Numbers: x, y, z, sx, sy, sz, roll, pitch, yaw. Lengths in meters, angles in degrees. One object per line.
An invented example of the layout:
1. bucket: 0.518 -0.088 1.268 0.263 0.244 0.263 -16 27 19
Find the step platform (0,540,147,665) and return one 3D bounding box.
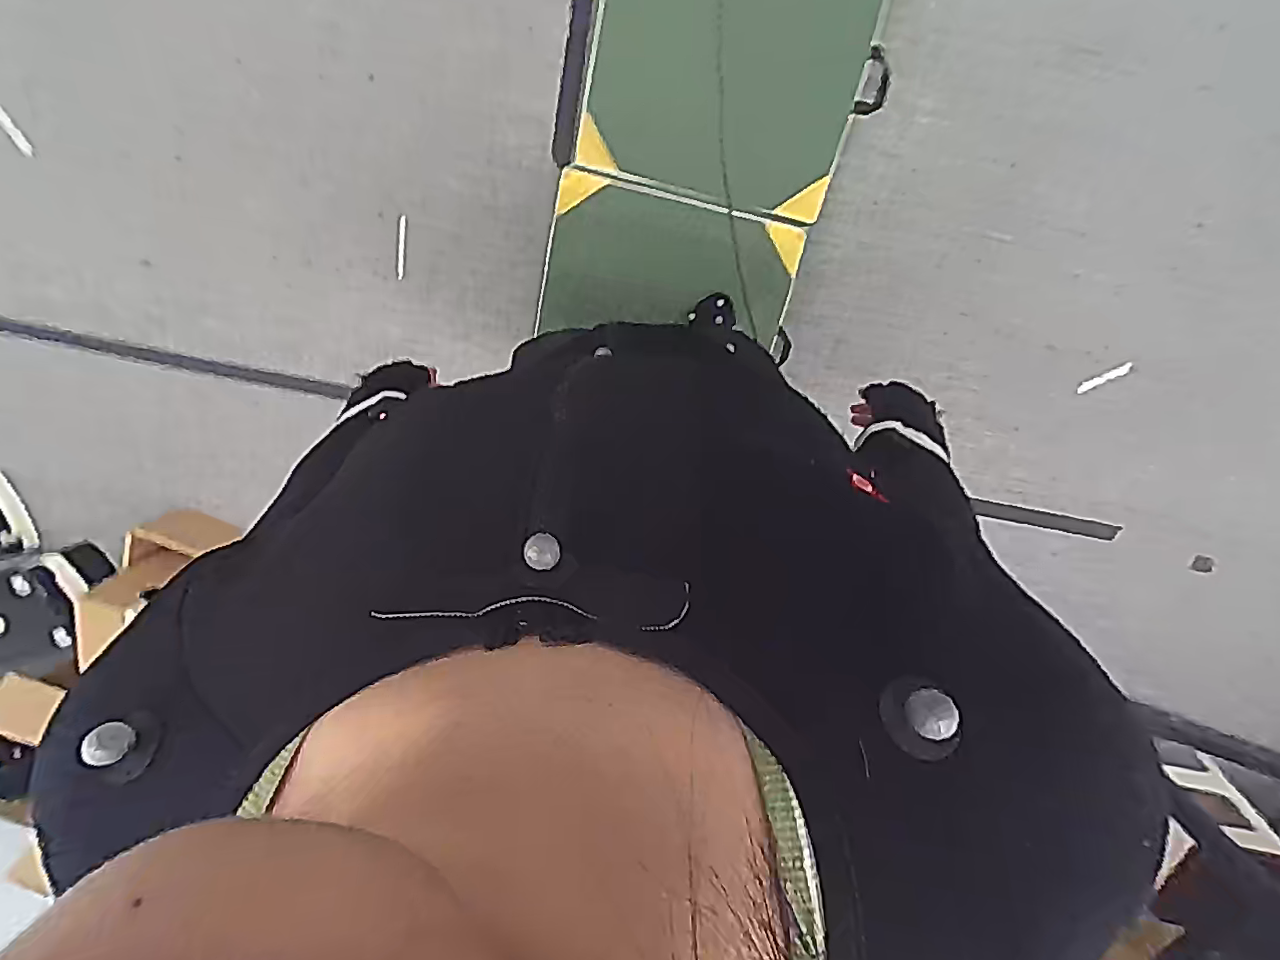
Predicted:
1. step platform: -2.052 0.432 1.790 0.684 0.204 0.286 -16 109 8
